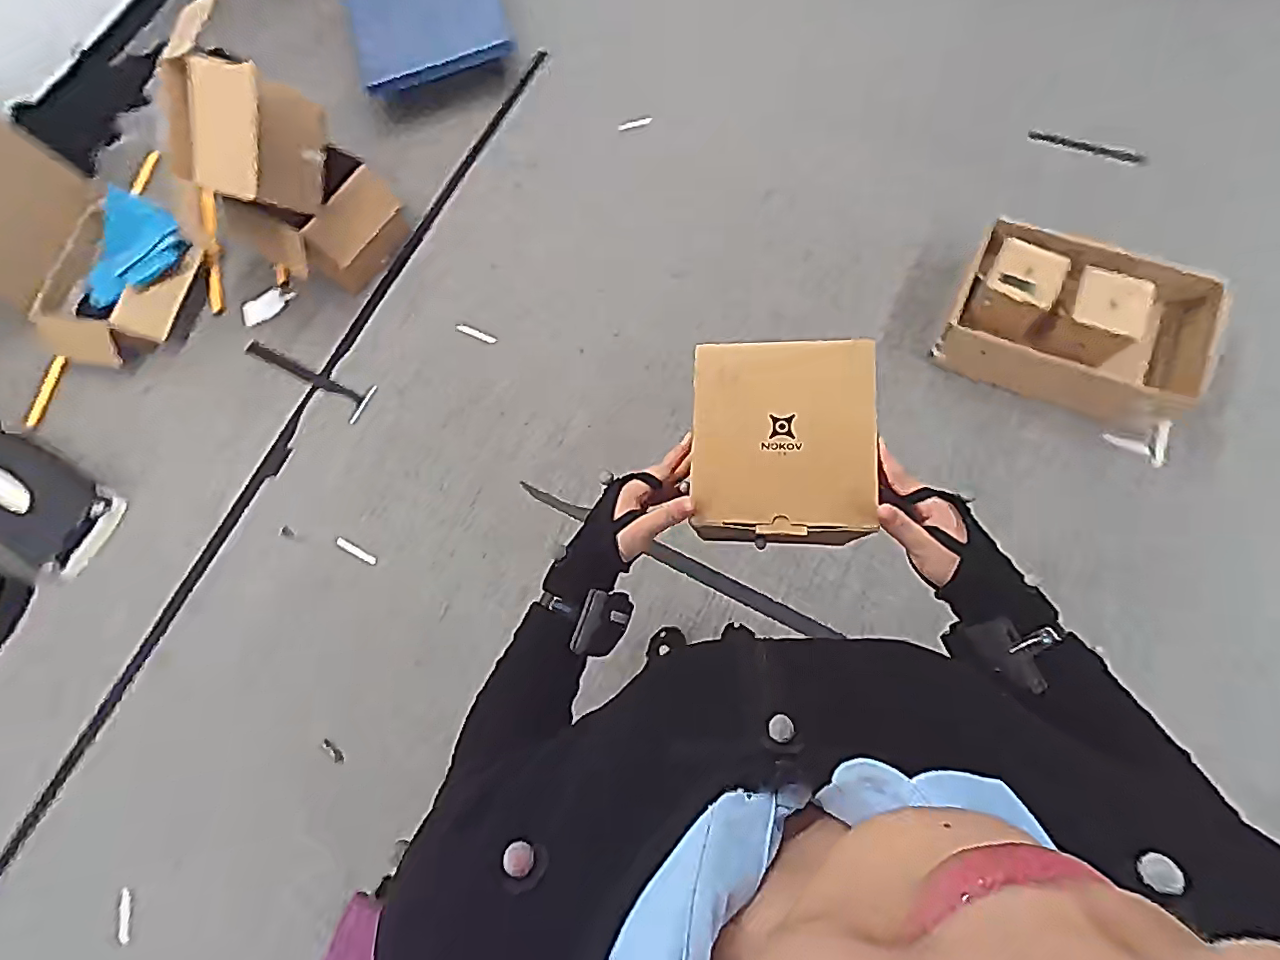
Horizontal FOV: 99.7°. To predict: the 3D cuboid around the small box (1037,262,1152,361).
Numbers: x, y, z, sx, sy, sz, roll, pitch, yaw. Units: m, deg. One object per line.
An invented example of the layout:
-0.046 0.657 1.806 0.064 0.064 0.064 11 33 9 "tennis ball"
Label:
1.240 -0.456 1.488 0.168 0.176 0.179 22 78 12 "small box"
